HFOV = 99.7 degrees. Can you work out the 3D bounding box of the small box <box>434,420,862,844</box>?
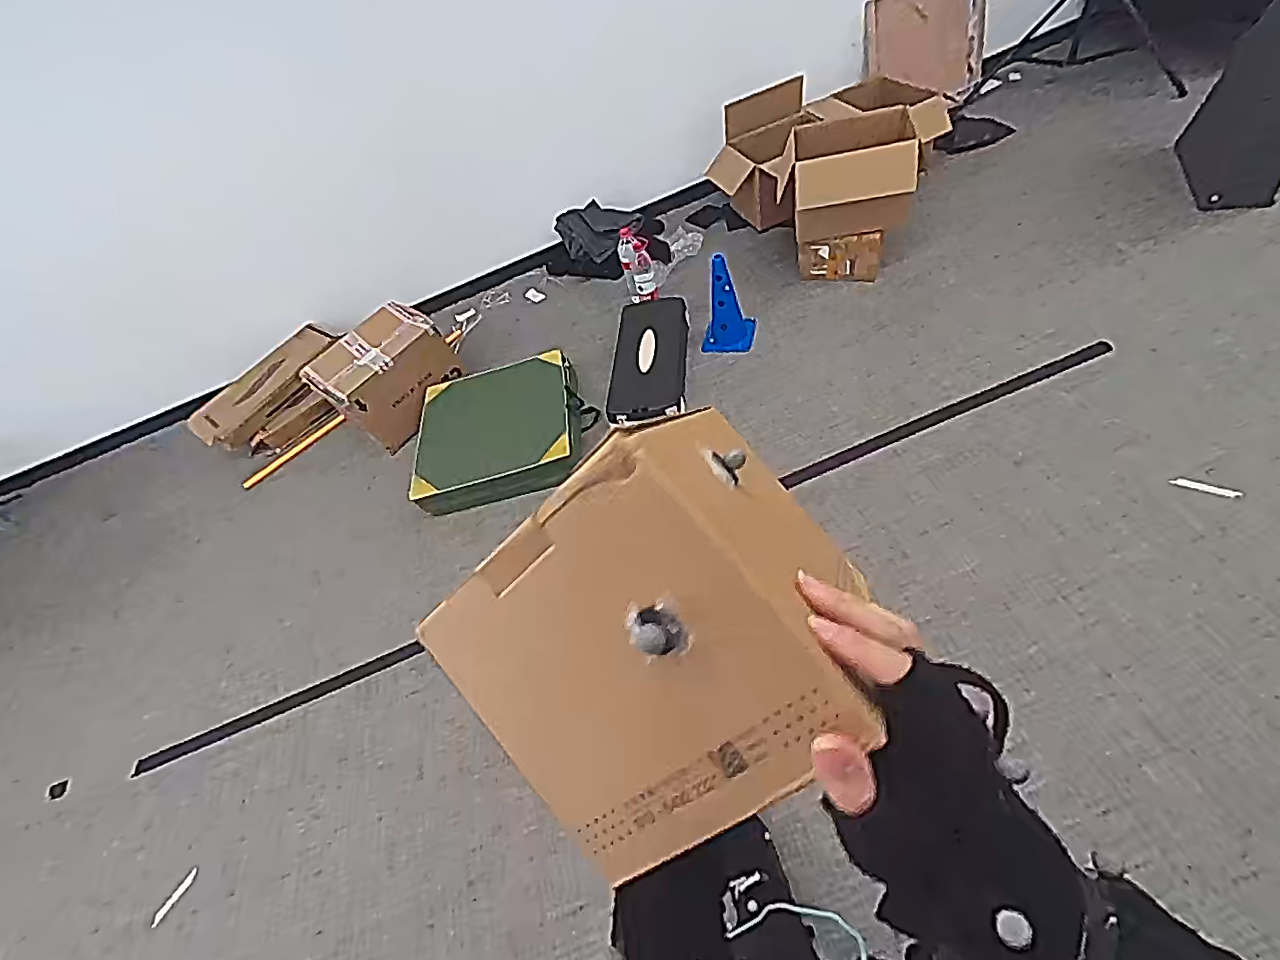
[{"bbox_3d":[0.018,0.086,0.342,0.168,0.179,0.176,-44,83,24],"label":"small box"}]
